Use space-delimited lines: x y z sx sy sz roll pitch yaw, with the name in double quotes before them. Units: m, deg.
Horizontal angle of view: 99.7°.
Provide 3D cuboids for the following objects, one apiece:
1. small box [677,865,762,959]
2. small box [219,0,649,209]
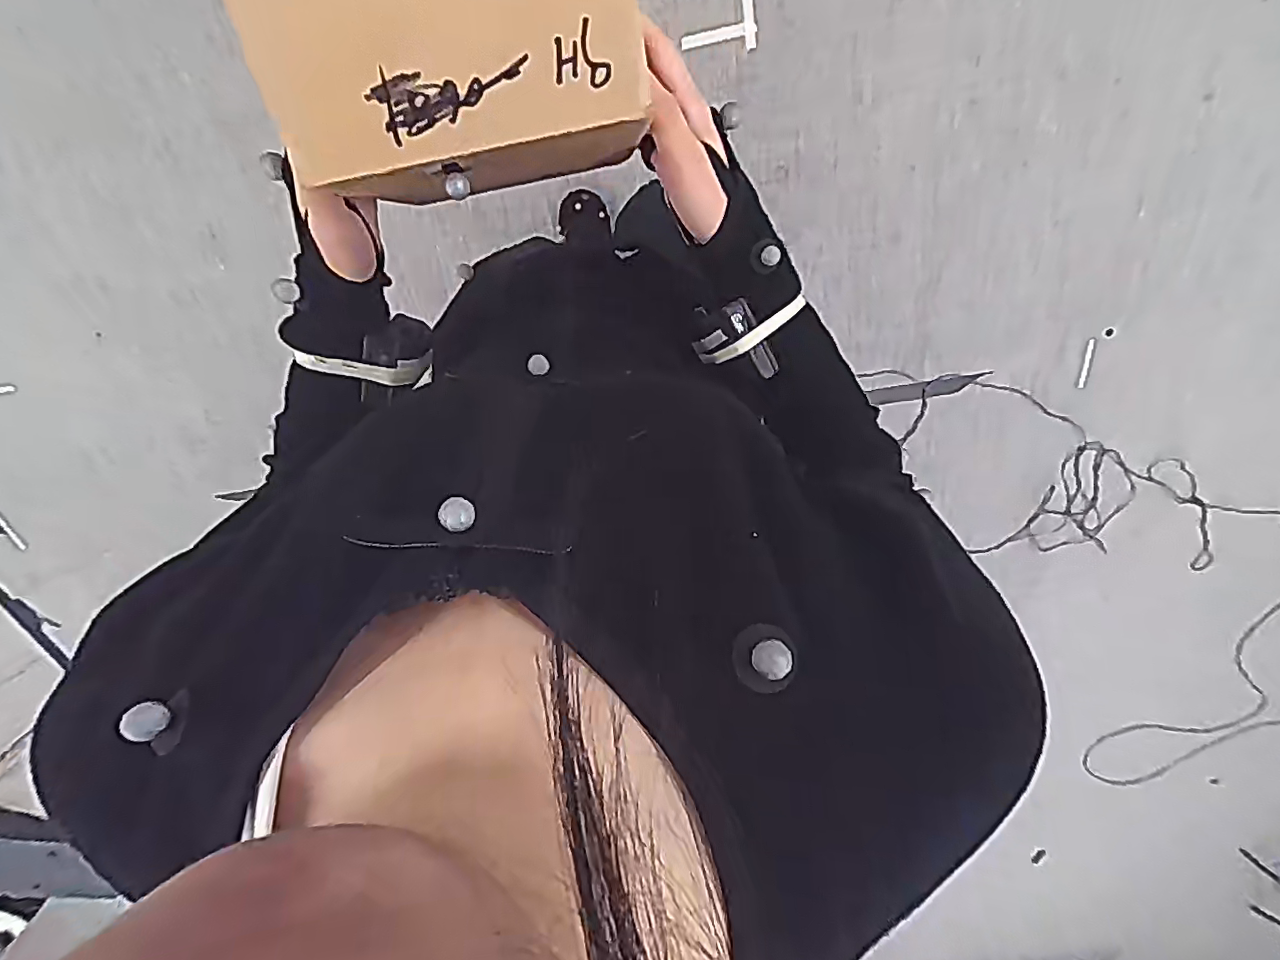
"small box" 0.179 1.020 1.236 0.168 0.176 0.179 -7 117 1
"small box" -0.096 -0.255 0.280 0.168 0.176 0.179 -12 114 2
